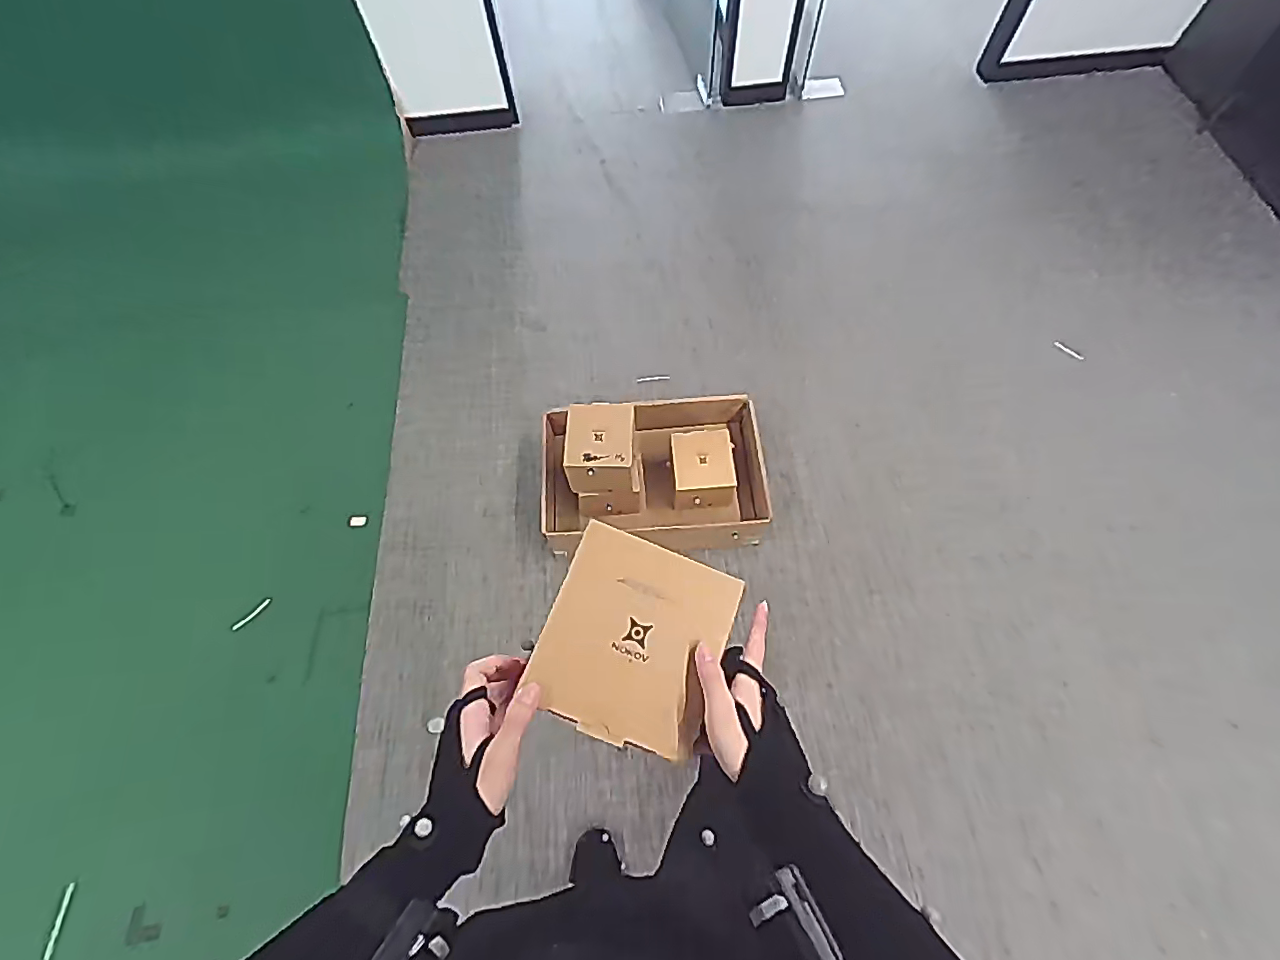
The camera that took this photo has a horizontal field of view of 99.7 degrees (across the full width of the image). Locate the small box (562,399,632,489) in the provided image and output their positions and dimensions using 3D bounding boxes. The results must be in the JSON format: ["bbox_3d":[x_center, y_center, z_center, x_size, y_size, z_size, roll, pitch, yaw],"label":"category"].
[{"bbox_3d":[-0.105,-0.091,1.403,0.168,0.176,0.179,1,66,1],"label":"small box"}]

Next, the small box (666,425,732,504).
[{"bbox_3d":[0.165,-0.038,1.557,0.168,0.176,0.179,-5,66,0],"label":"small box"}]

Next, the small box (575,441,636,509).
[{"bbox_3d":[-0.098,-0.023,1.552,0.168,0.176,0.179,-4,66,-2],"label":"small box"}]
